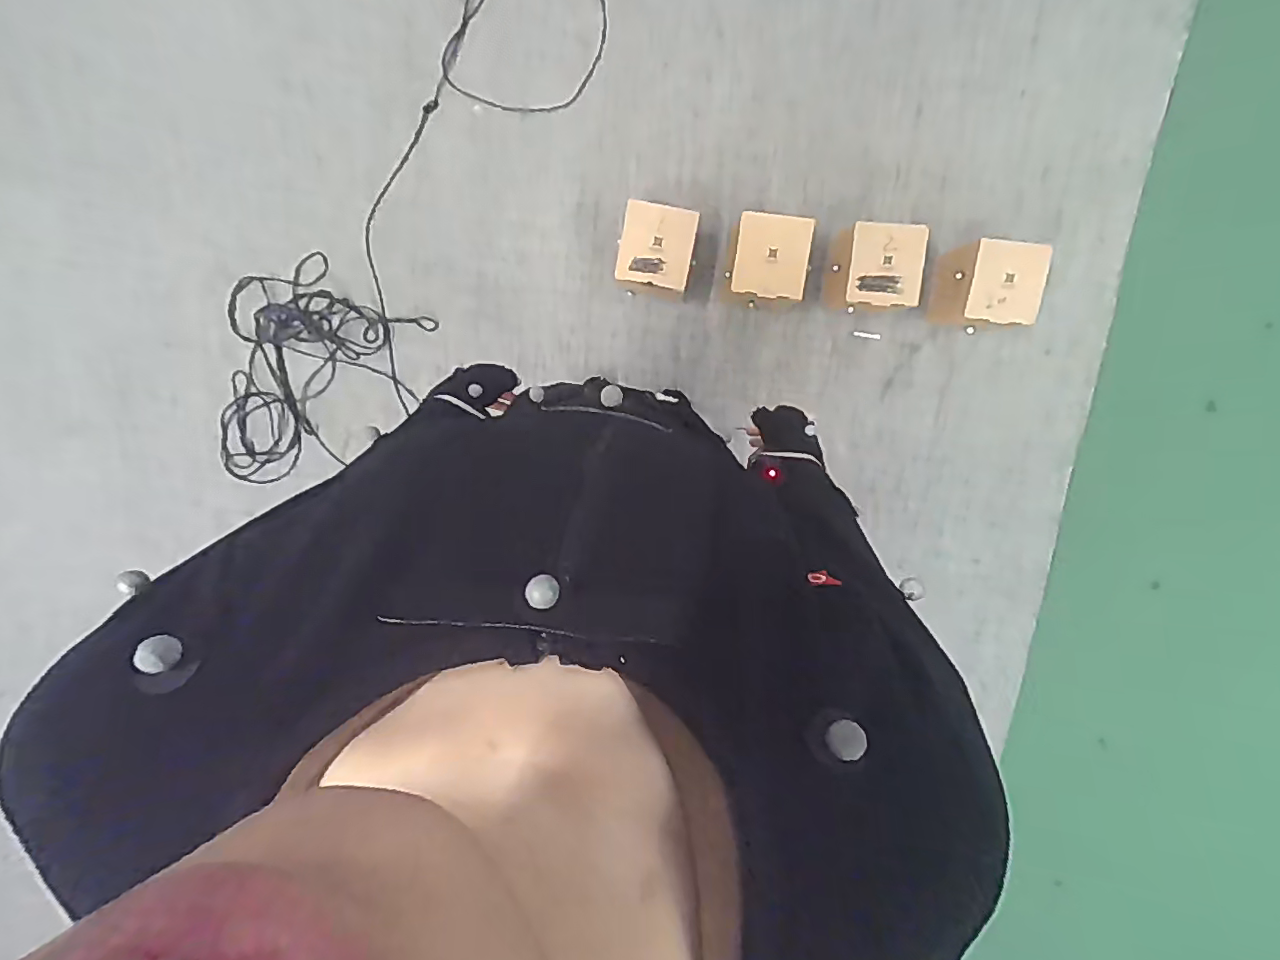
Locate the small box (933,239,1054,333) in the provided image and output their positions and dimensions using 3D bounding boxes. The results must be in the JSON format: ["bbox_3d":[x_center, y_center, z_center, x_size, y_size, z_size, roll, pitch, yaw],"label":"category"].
[{"bbox_3d":[0.836,-0.459,1.299,0.168,0.176,0.179,7,101,1],"label":"small box"}]

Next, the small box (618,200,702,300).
[{"bbox_3d":[0.049,-0.546,1.309,0.168,0.176,0.179,11,100,0],"label":"small box"}]

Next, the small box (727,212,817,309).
[{"bbox_3d":[0.309,-0.521,1.305,0.168,0.176,0.179,7,101,1],"label":"small box"}]
